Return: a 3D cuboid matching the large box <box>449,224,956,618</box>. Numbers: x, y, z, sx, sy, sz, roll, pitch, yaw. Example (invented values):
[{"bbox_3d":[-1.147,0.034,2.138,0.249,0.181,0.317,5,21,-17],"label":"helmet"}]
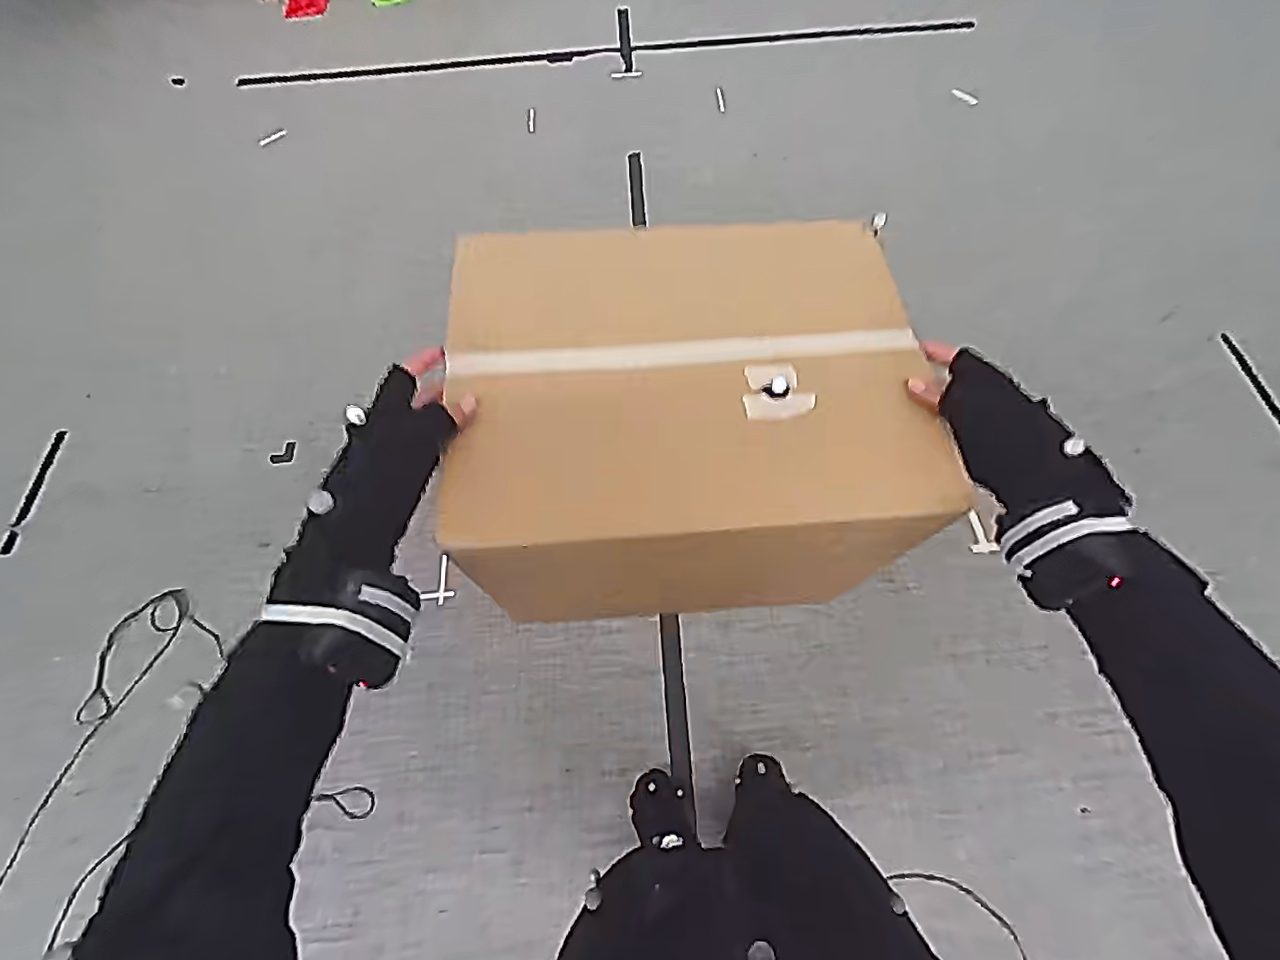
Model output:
[{"bbox_3d":[0.033,-0.044,0.606,0.408,0.320,0.320,-4,66,-4],"label":"large box"}]
